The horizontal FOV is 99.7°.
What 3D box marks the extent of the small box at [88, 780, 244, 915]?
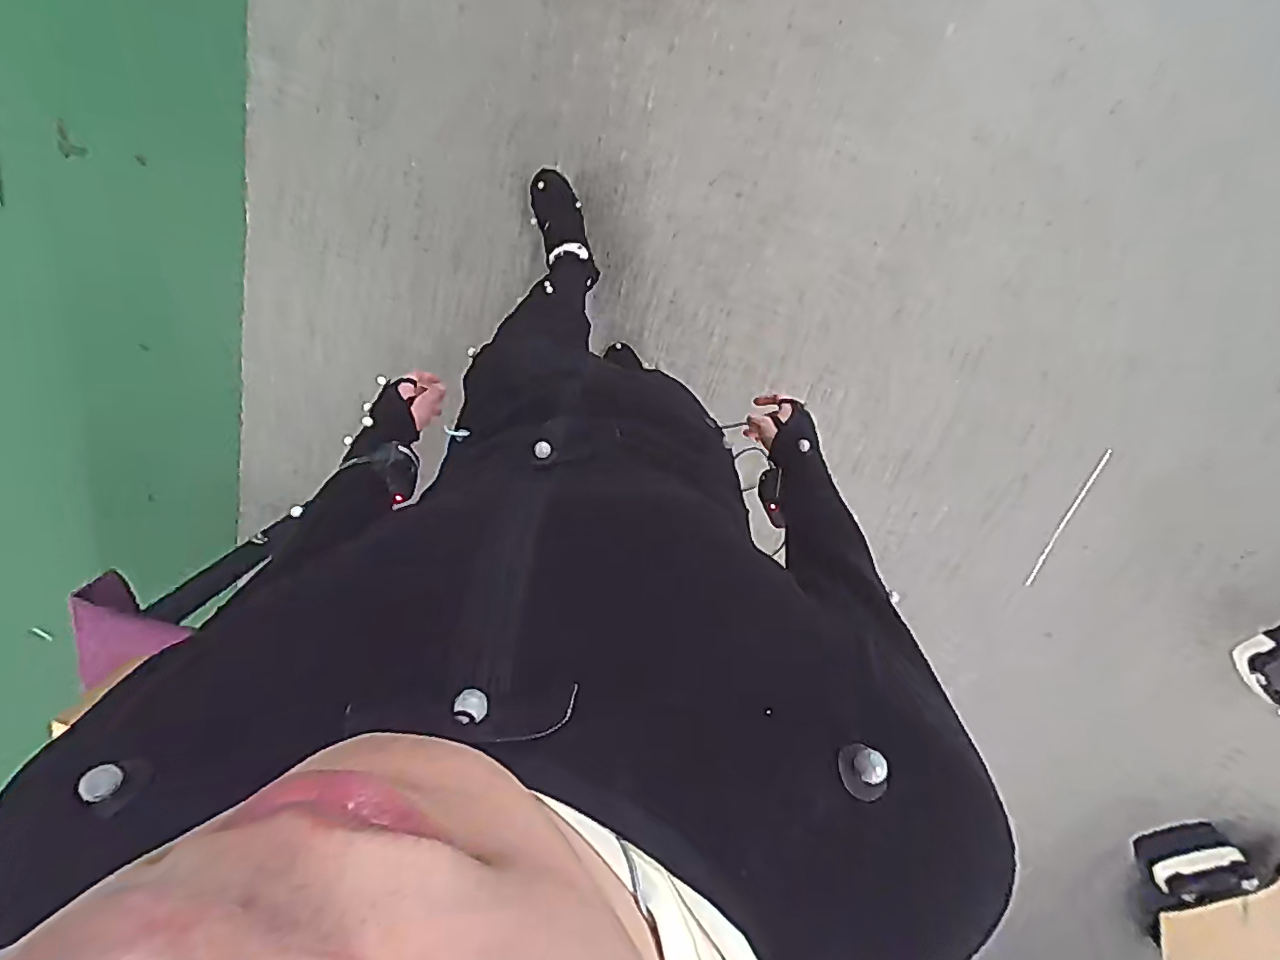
[{"bbox_3d":[-0.979,0.758,1.133,0.179,0.176,0.168,10,111,-3],"label":"small box"}]
